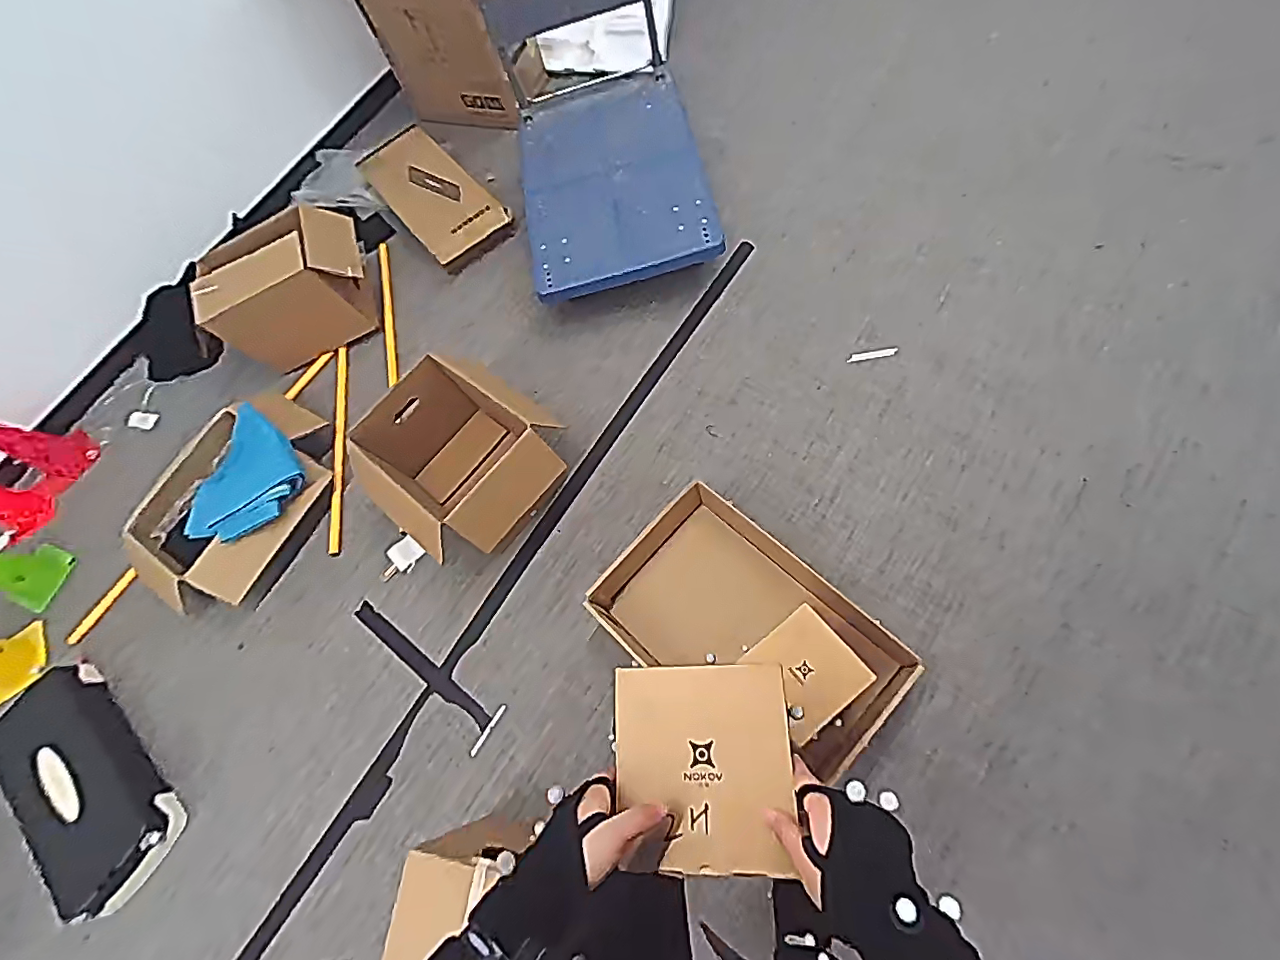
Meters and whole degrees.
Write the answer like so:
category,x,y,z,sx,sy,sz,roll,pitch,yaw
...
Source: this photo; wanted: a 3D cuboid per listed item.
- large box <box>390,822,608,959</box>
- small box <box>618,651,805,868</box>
category,x,y,z,sx,sy,sz,roll,pitch,yaw
large box,-0.262,0.930,1.026,0.320,0.320,0.408,2,70,14
small box,0.077,0.279,0.573,0.168,0.176,0.179,-6,70,12
